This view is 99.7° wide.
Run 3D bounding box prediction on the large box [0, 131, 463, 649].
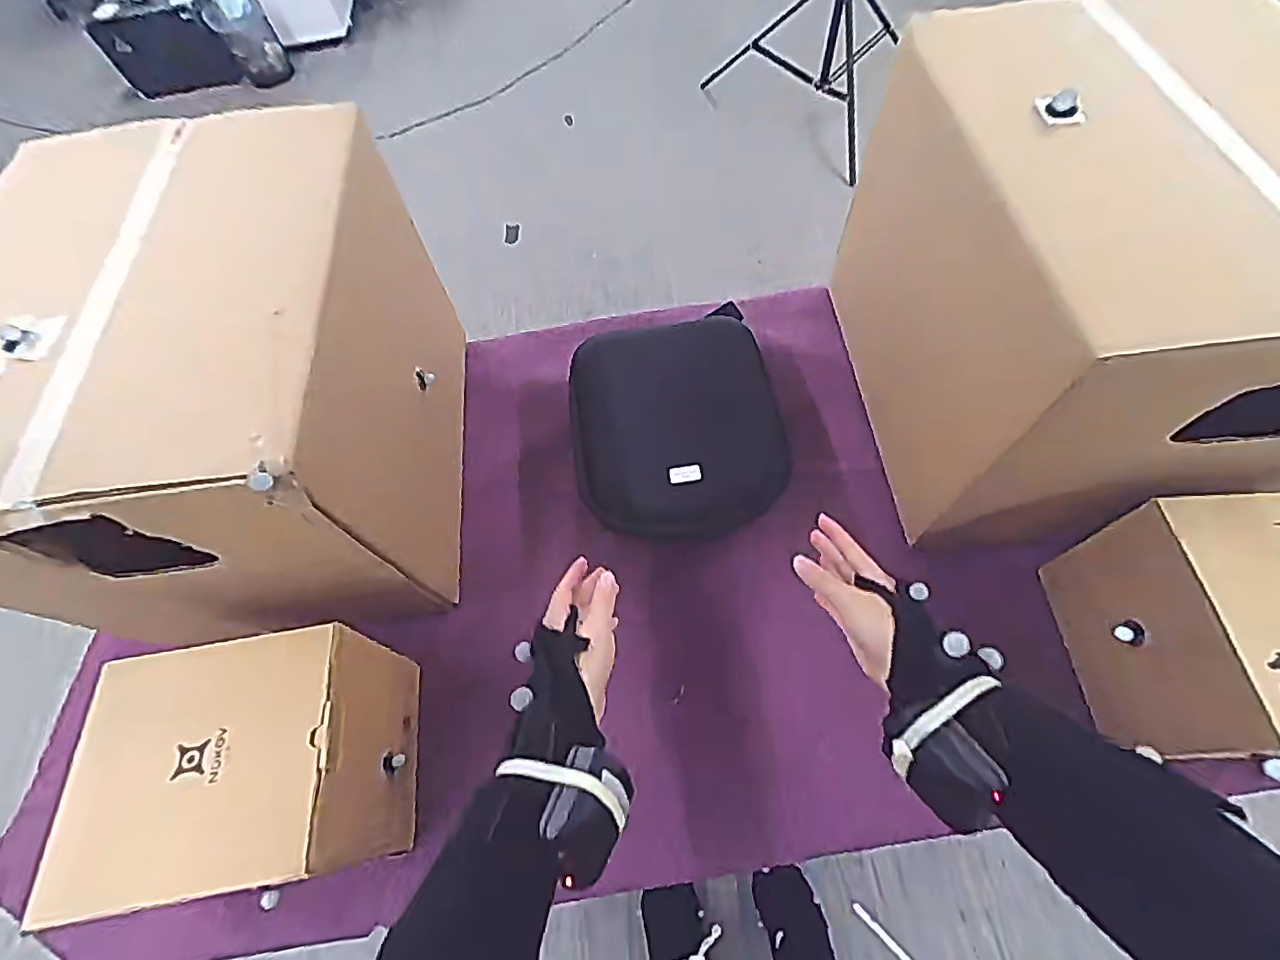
[{"bbox_3d":[-0.383,-0.074,0.559,0.320,0.320,0.408,-9,63,-1],"label":"large box"}]
